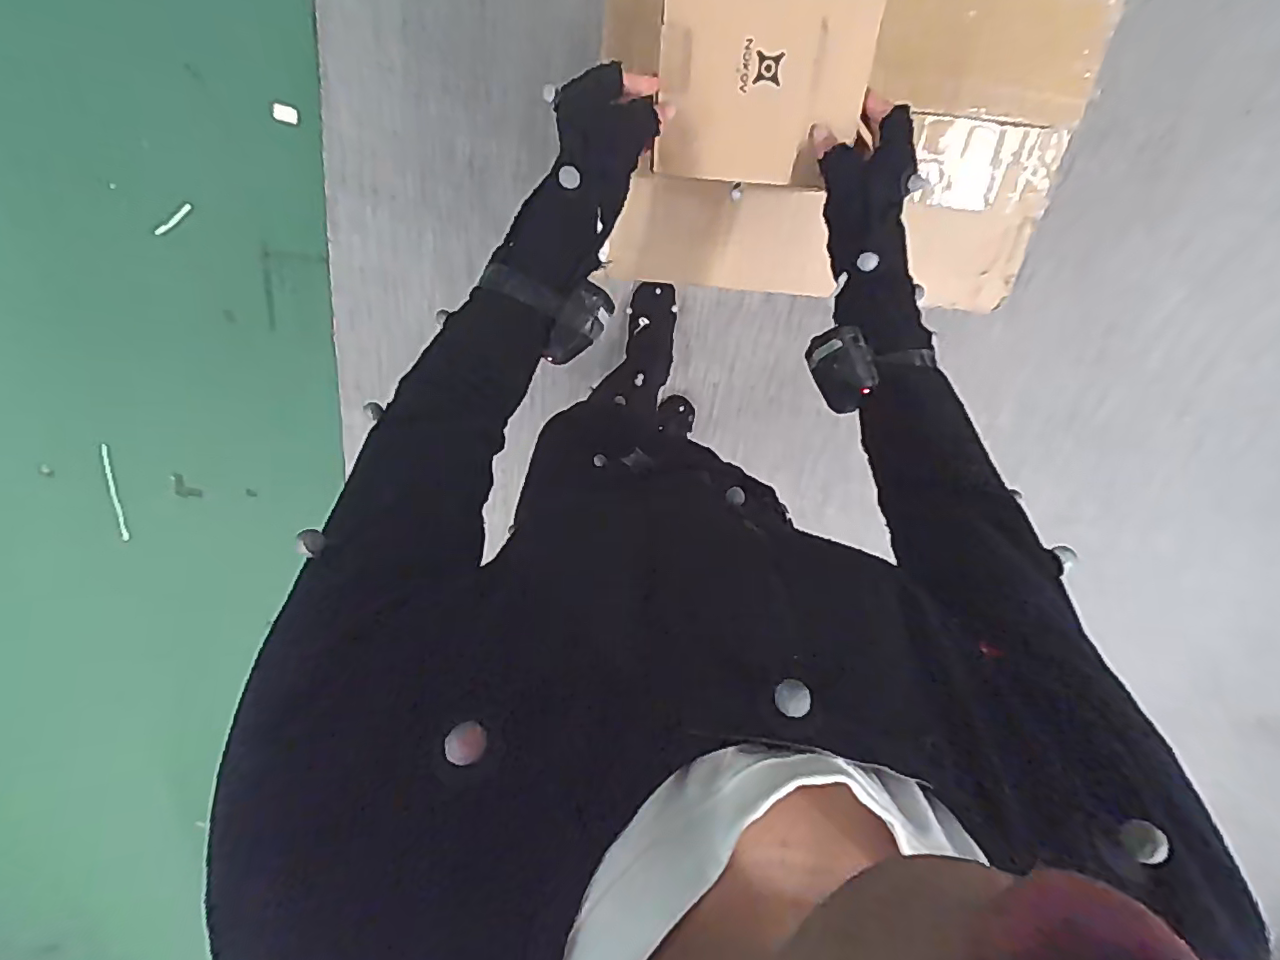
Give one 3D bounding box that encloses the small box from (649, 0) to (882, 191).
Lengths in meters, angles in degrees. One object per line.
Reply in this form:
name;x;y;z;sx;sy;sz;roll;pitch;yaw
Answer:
small box;0.101;-0.375;0.515;0.179;0.176;0.168;3;118;-2
